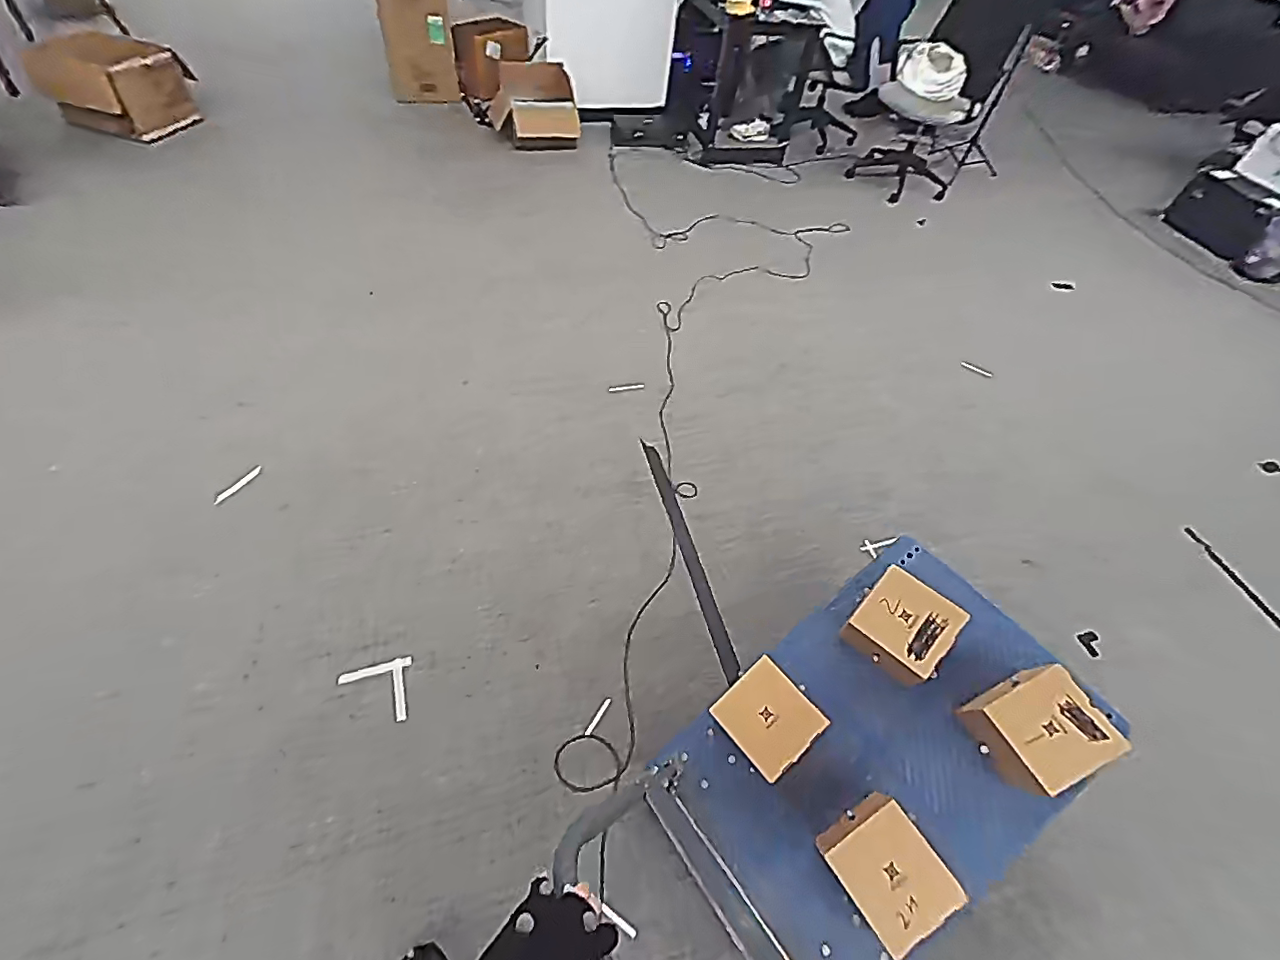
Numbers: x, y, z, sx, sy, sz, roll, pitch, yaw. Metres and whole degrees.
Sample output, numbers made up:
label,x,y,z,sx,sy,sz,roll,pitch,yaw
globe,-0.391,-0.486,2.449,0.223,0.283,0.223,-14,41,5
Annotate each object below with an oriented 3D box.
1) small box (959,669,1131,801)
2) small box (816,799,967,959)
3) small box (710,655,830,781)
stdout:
label,x,y,z,sx,sy,sz,roll,pitch,yaw
small box,0.769,0.491,1.053,0.179,0.176,0.168,-28,63,-2
small box,0.450,0.721,1.003,0.168,0.176,0.179,-33,63,-6
small box,0.267,0.502,1.145,0.168,0.176,0.179,-40,66,-10
